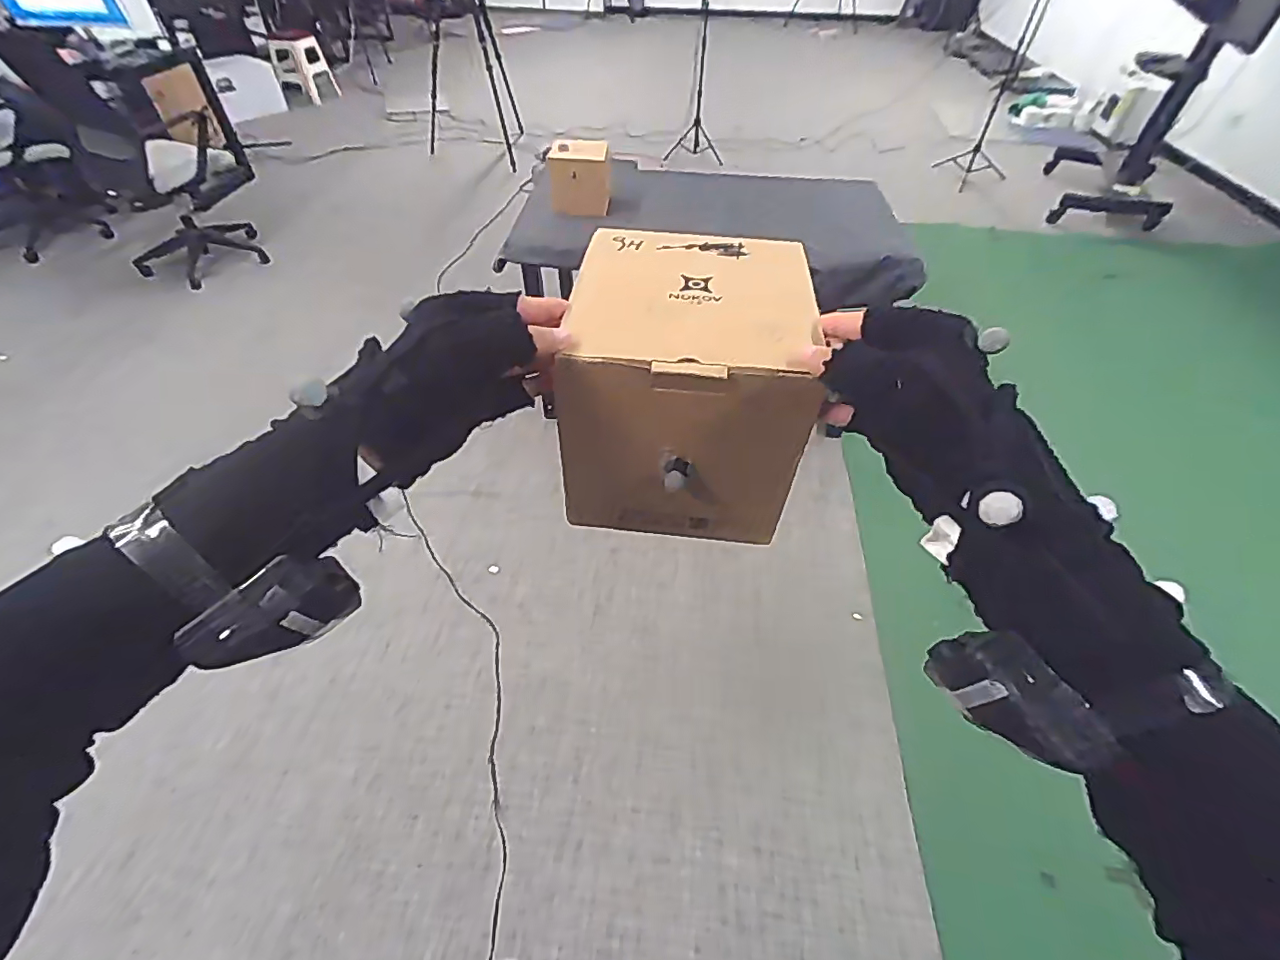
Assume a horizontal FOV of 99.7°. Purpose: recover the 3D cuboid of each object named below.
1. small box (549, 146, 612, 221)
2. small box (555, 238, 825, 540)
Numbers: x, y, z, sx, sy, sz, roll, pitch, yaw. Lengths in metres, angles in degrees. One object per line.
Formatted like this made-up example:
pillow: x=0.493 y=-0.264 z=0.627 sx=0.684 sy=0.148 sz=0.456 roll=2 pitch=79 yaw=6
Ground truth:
small box: x=-0.185 y=-0.948 z=1.731 sx=0.179 sy=0.176 sz=0.168 roll=3 pitch=48 yaw=0
small box: x=0.037 y=-0.070 z=0.435 sx=0.168 sy=0.176 sz=0.179 roll=5 pitch=48 yaw=3
